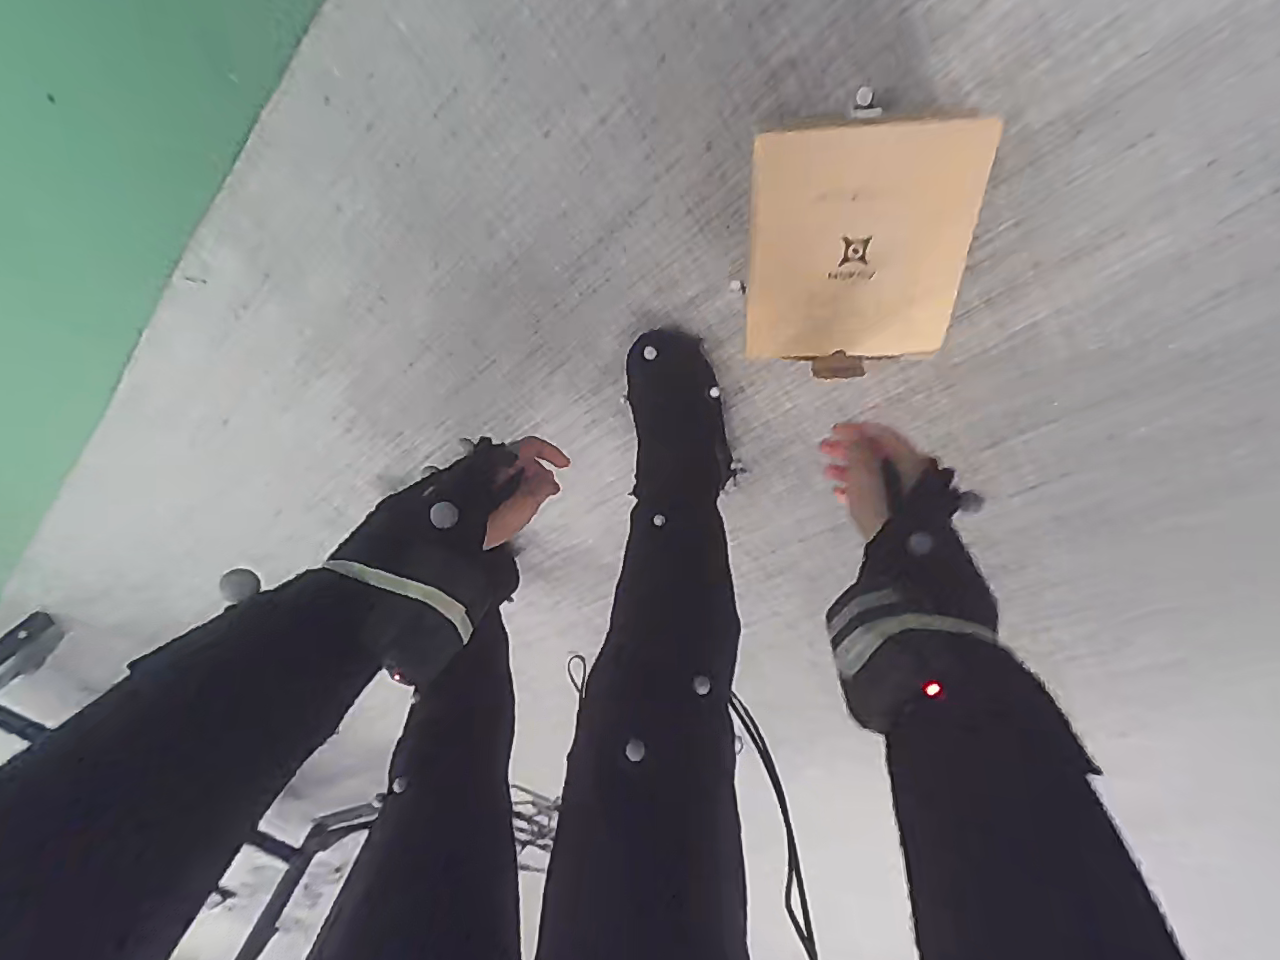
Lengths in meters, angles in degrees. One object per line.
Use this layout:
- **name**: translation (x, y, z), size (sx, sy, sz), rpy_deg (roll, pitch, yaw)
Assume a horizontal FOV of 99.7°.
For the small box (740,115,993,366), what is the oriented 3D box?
- **small box**: translation (0.179, -0.218, 0.491), size (0.168, 0.176, 0.179), rpy_deg (1, 126, 9)
